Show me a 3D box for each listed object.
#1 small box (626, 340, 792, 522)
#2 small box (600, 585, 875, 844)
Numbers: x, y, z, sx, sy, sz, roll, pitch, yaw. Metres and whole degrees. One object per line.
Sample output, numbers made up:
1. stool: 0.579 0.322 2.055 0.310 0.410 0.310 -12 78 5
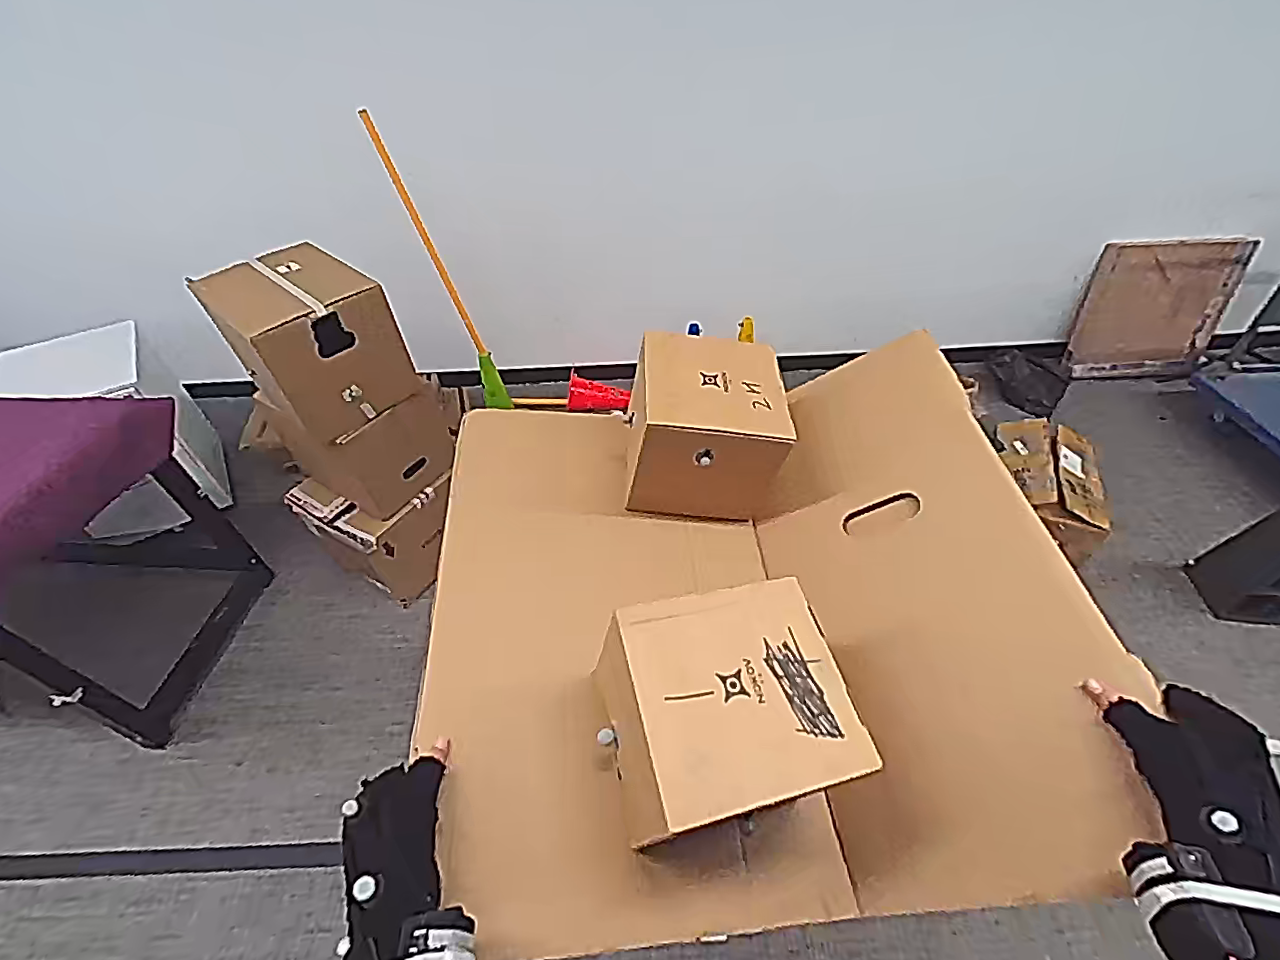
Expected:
1. small box: 0.078 -0.058 0.718 0.179 0.176 0.168 6 52 -8
2. small box: 0.069 0.218 0.502 0.179 0.176 0.168 -6 55 -16
